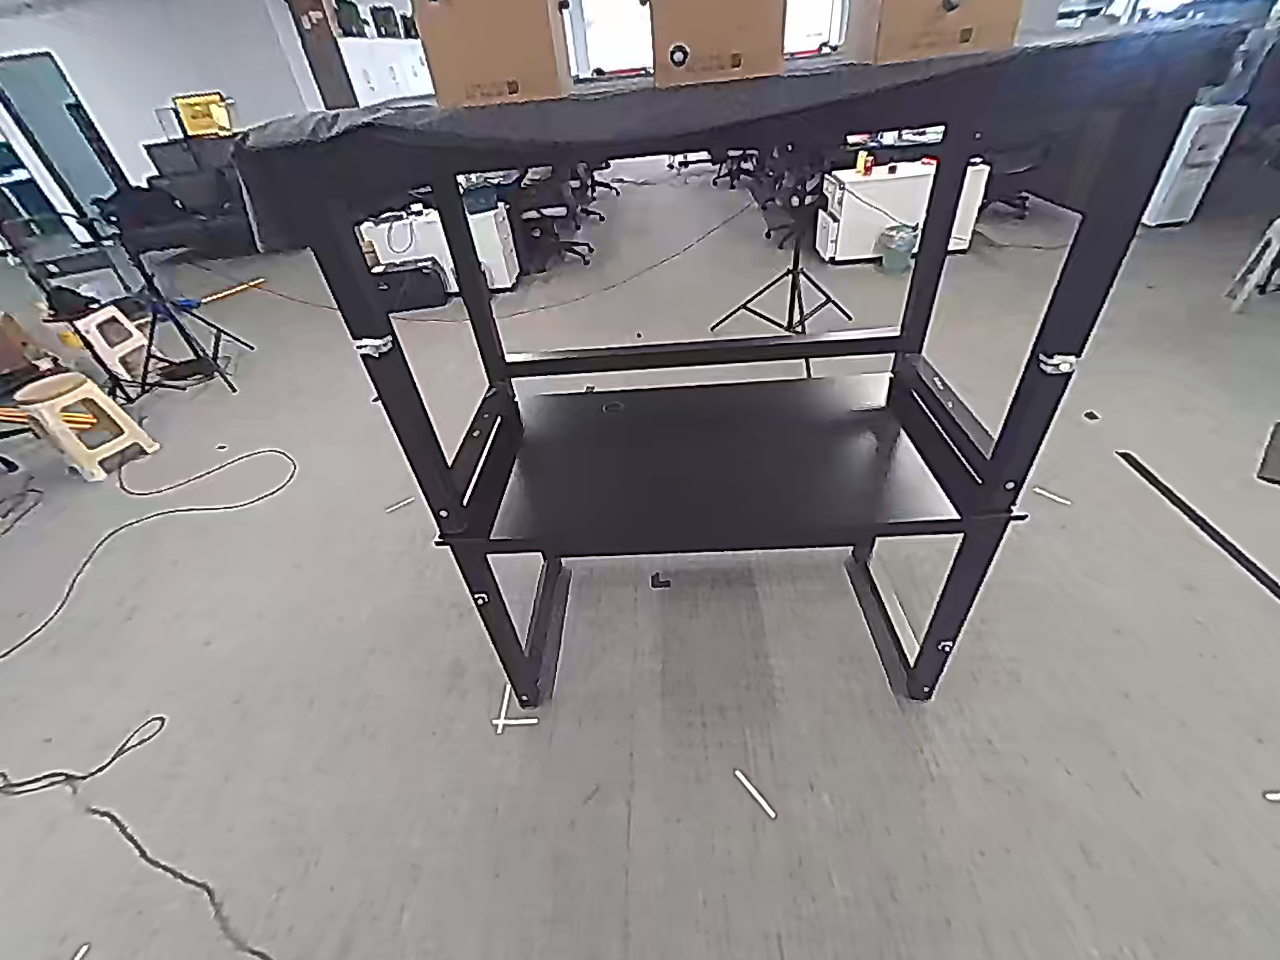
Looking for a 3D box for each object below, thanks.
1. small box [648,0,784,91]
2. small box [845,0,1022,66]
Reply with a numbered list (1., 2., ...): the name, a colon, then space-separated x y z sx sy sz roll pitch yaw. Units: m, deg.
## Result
1. small box: 0.096 -0.622 0.708 0.168 0.176 0.179 -3 36 5
2. small box: 0.369 -0.636 0.684 0.168 0.176 0.179 -3 38 7
